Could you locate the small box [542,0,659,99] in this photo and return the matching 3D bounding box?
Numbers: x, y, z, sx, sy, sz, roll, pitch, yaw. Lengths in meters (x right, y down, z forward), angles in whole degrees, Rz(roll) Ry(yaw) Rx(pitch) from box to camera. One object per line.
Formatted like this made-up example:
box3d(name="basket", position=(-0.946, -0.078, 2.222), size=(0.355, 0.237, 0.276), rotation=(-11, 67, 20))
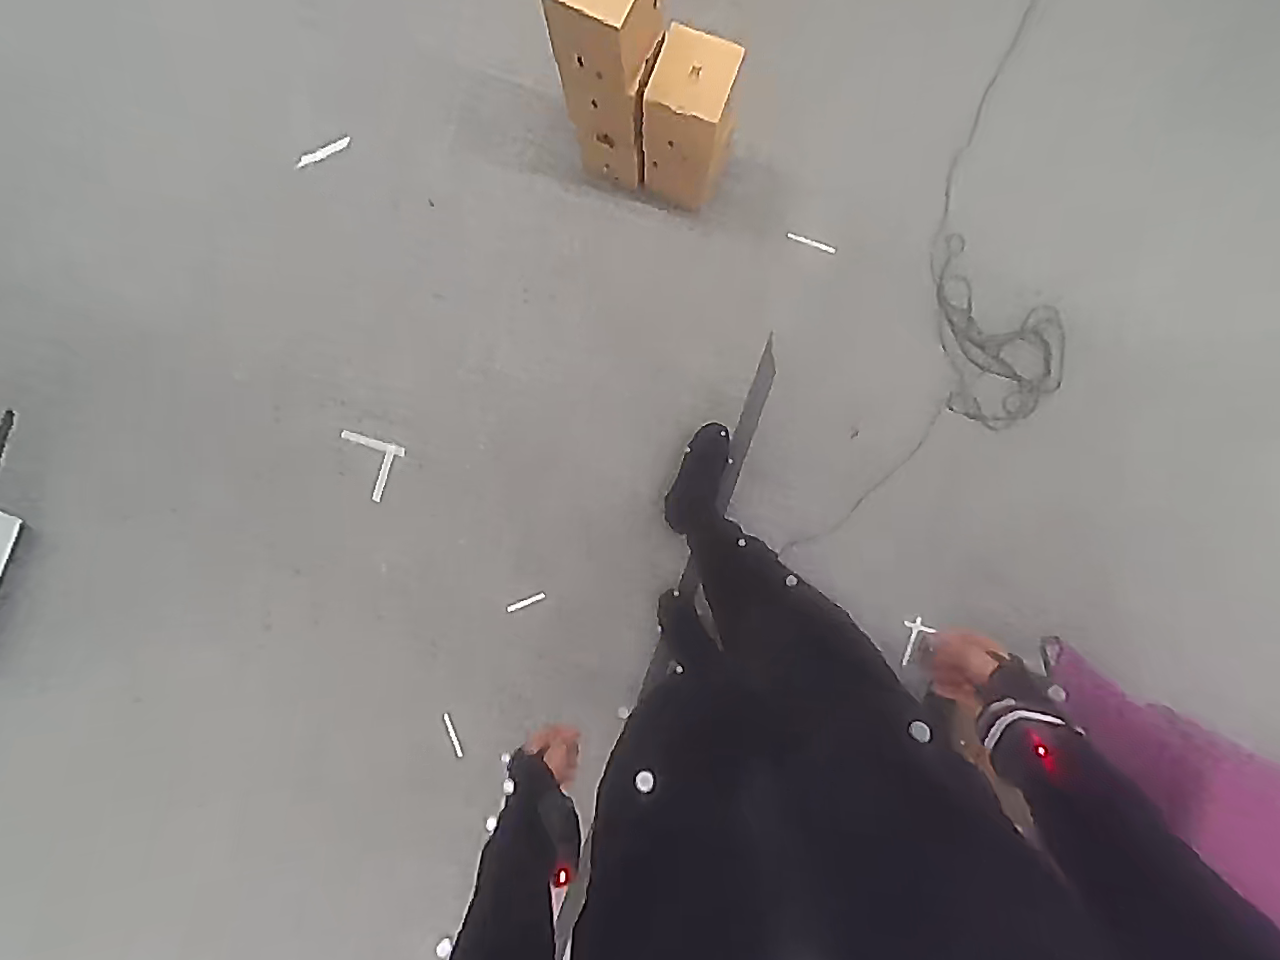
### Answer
box3d(name="small box", position=(-0.070, -0.893, 1.034), size=(0.168, 0.176, 0.179), rotation=(27, 89, 2))
